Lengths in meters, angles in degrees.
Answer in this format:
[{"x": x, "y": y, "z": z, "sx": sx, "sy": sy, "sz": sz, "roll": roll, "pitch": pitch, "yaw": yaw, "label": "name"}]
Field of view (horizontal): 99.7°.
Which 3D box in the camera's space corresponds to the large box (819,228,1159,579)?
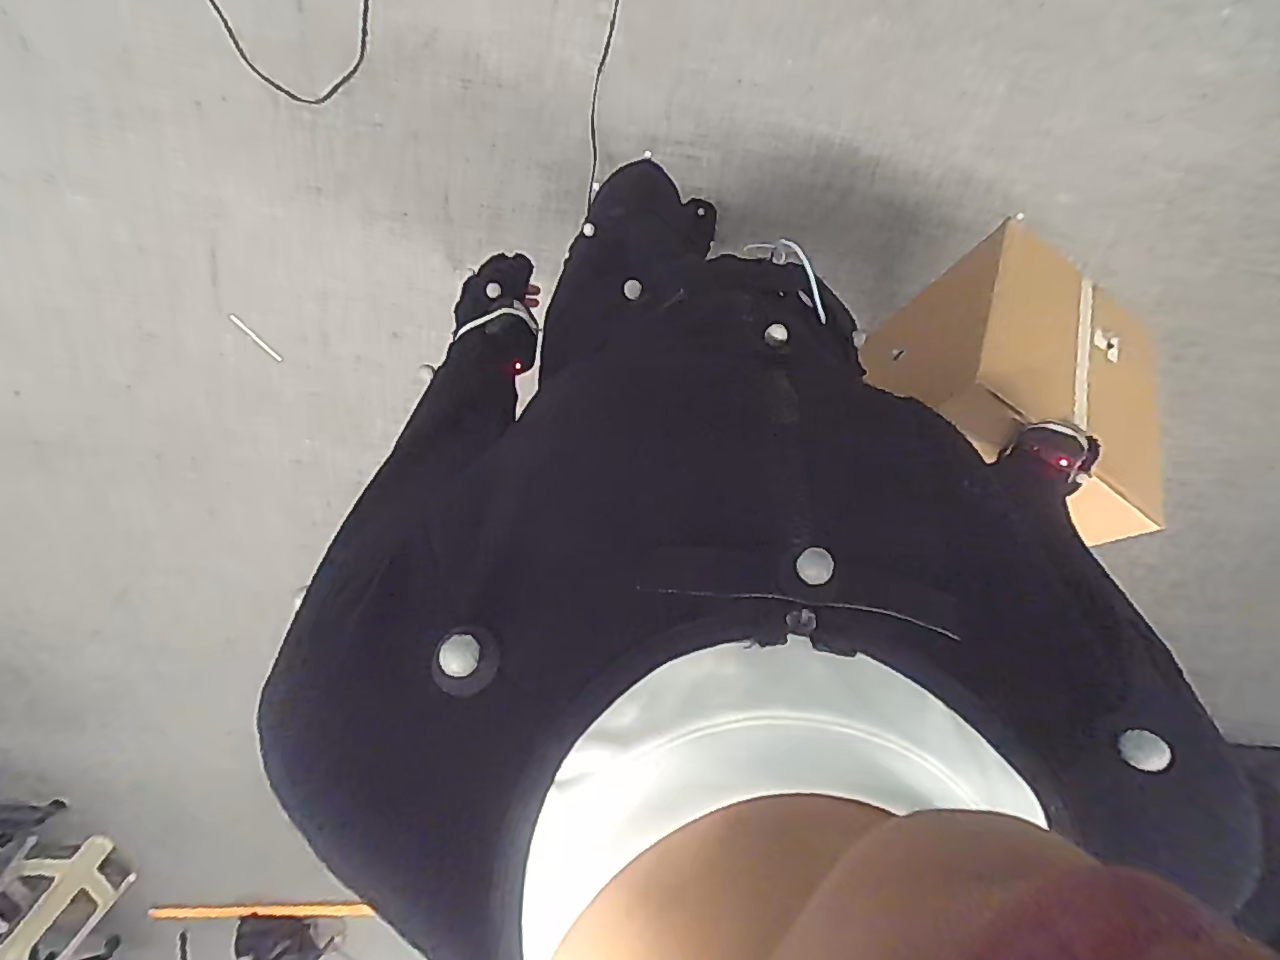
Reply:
[{"x": 0.551, "y": -0.109, "z": 0.886, "sx": 0.320, "sy": 0.408, "sz": 0.320, "roll": 35, "pitch": 148, "yaw": -6, "label": "large box"}]
